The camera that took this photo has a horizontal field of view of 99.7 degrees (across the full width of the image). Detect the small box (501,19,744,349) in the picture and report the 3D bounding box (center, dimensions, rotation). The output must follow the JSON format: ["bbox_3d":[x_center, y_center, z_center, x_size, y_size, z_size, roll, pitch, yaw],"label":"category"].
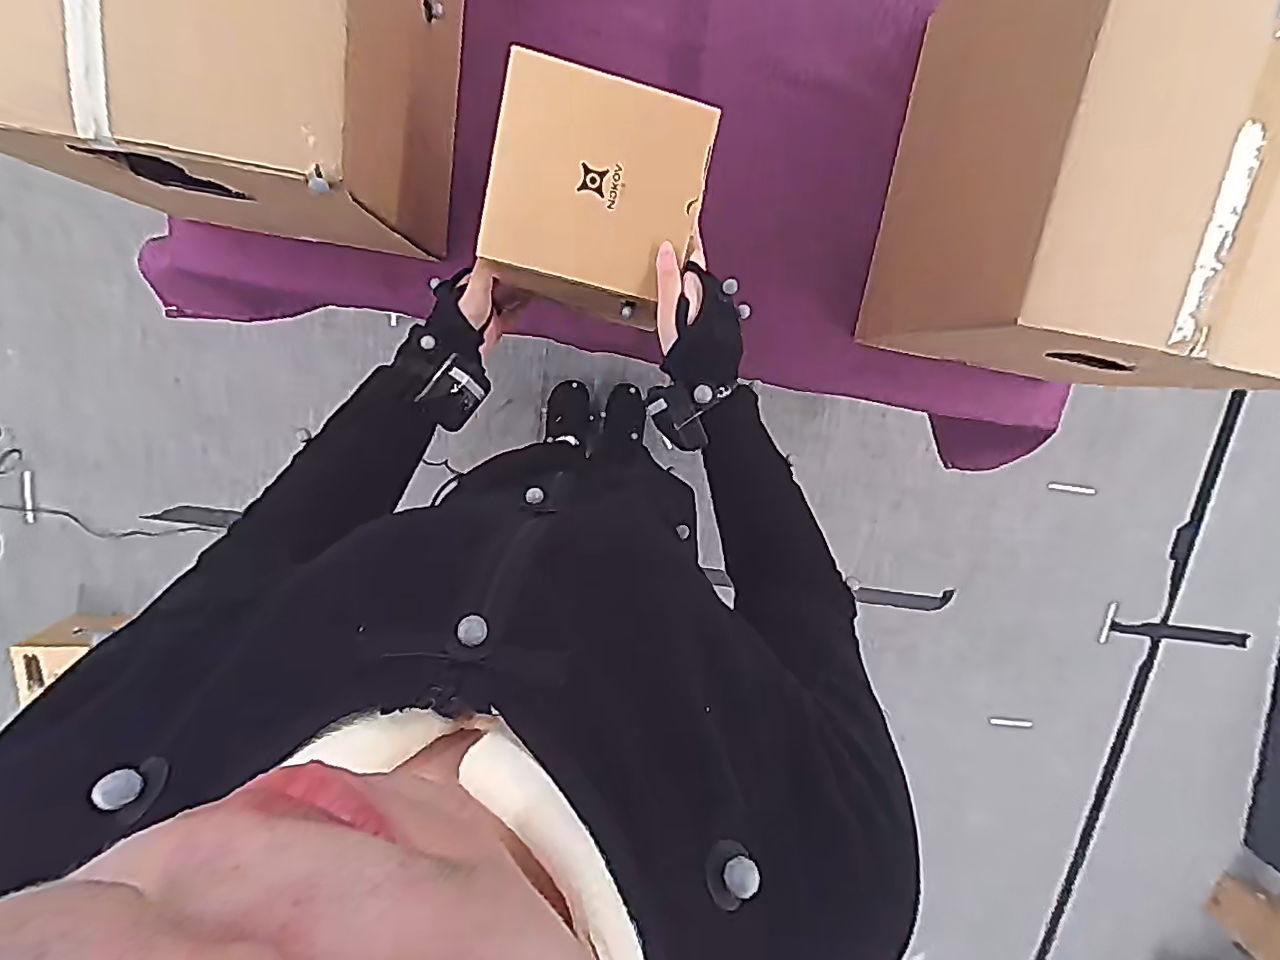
[{"bbox_3d":[-0.021,-0.245,0.490,0.168,0.176,0.179,9,79,-26],"label":"small box"}]
